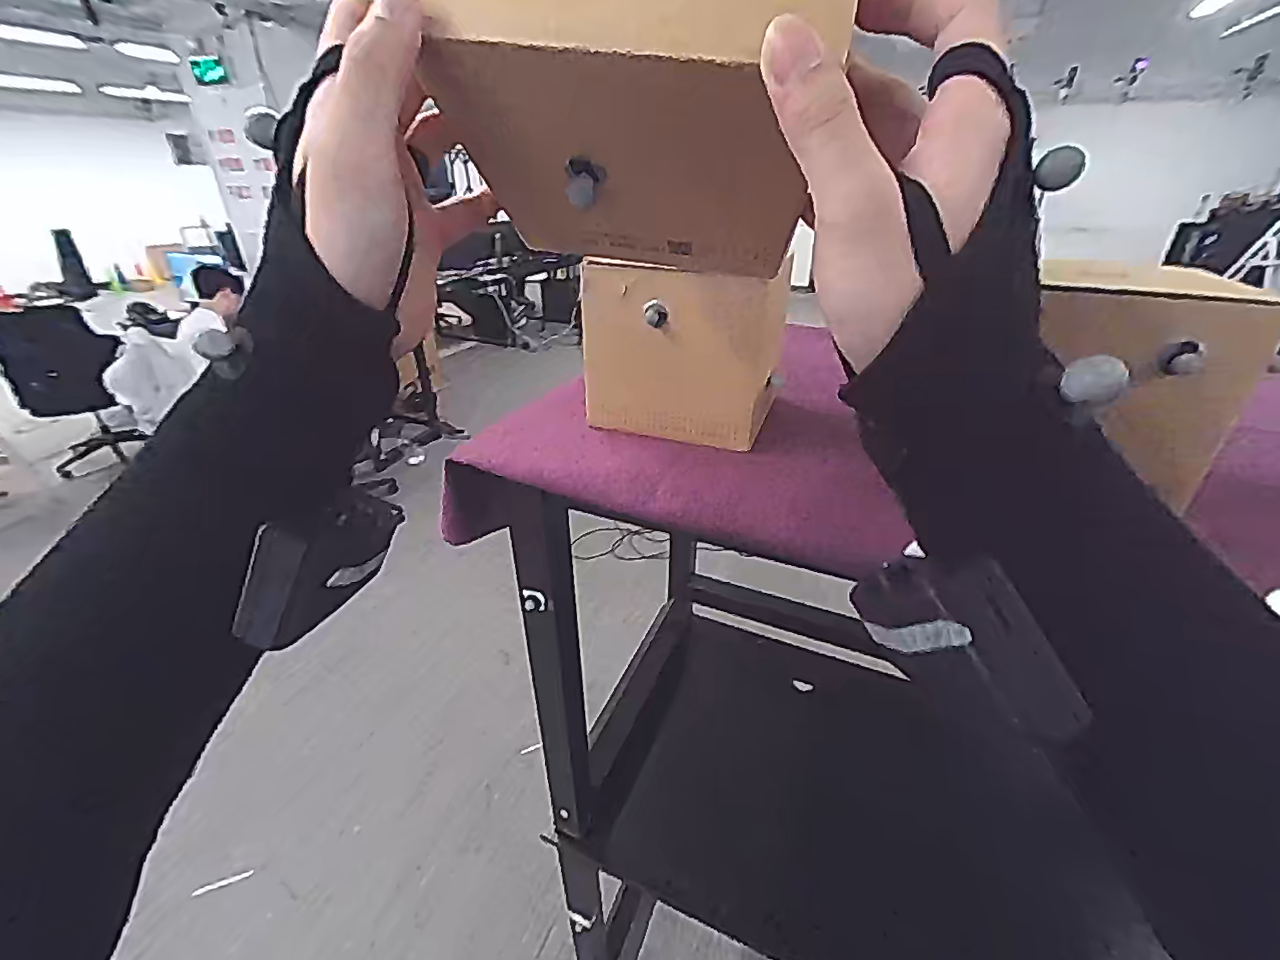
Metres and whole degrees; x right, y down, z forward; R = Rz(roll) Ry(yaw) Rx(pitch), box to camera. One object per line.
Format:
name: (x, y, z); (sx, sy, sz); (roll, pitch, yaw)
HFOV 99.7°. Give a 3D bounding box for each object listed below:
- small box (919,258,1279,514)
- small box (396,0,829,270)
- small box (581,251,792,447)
small box: (0.359, -0.089, 0.467); (0.179, 0.176, 0.168); (12, 30, 22)
small box: (0.009, -0.233, 0.282); (0.168, 0.179, 0.176); (10, -4, 8)
small box: (0.053, -0.147, 0.578); (0.179, 0.176, 0.168); (11, 31, 18)
